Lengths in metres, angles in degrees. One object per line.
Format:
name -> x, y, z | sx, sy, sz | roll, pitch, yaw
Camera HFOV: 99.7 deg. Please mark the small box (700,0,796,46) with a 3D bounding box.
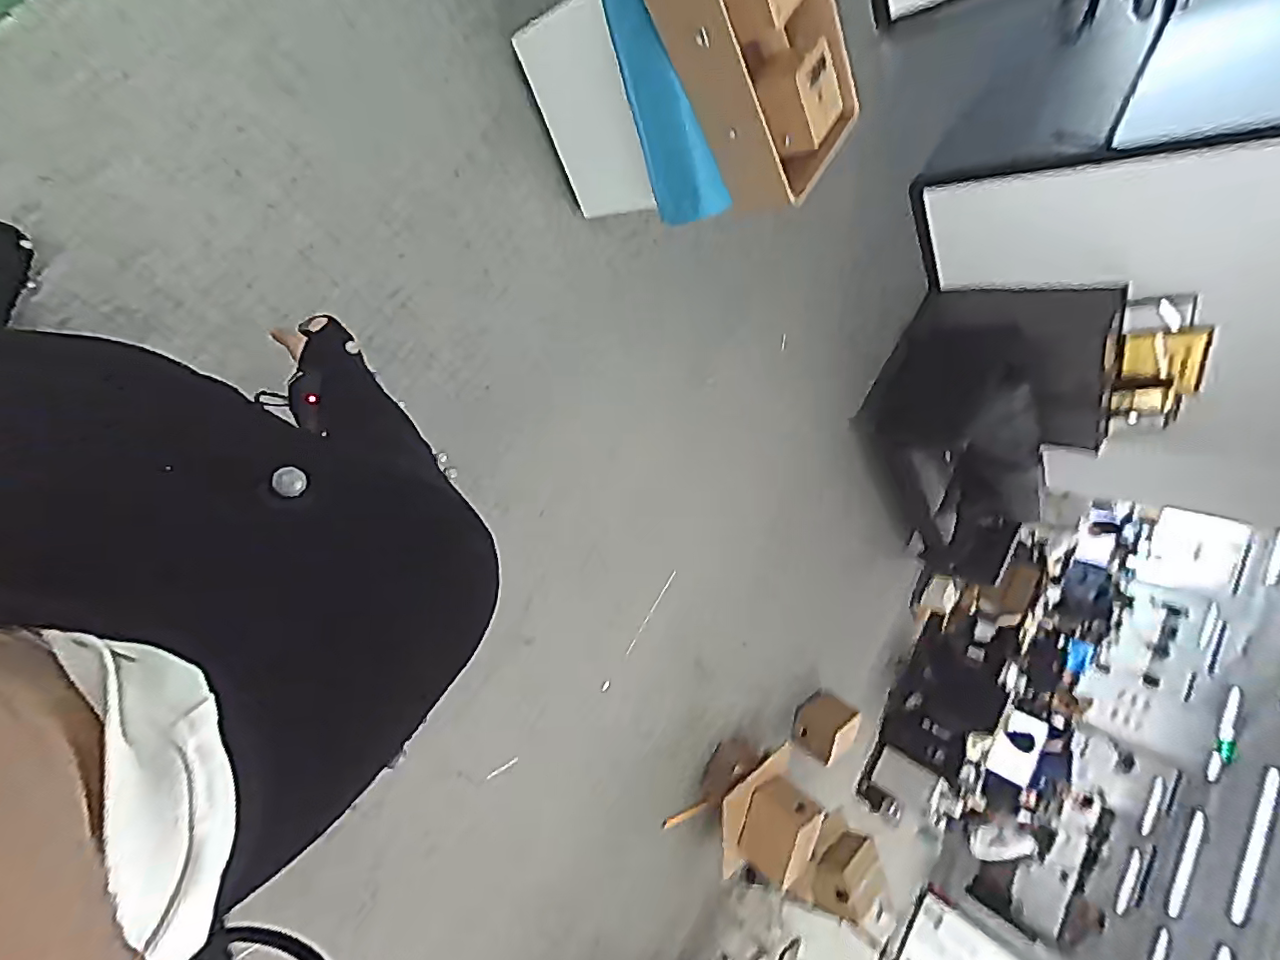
small box -> 0.241, -1.100, 1.171 | 0.179, 0.176, 0.168 | -58, 134, -16
